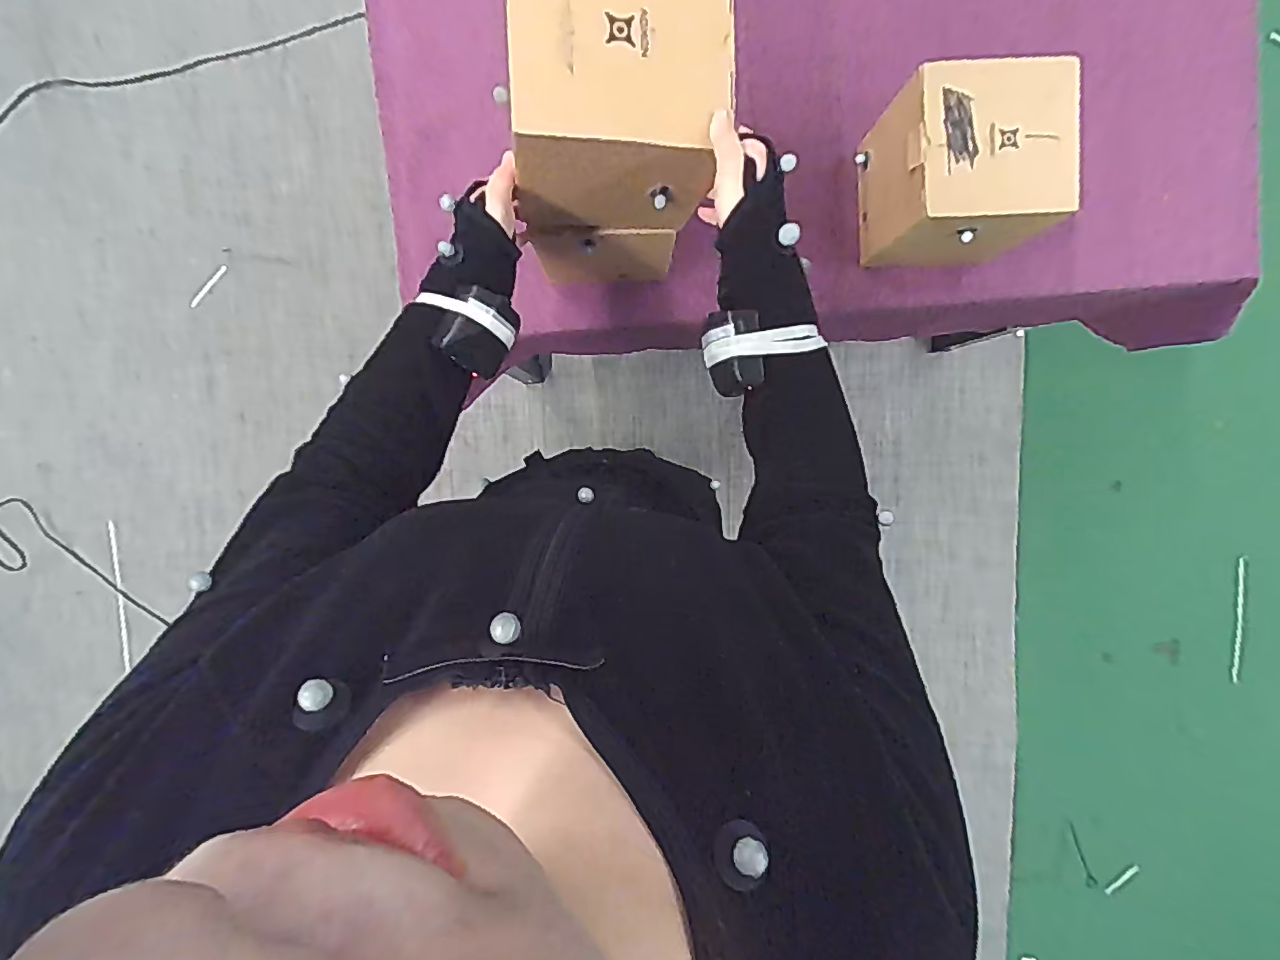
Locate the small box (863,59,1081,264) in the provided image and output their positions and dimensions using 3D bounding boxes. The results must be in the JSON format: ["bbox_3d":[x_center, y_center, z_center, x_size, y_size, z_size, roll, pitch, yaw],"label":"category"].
[{"bbox_3d":[0.392,-0.376,0.668,0.179,0.176,0.168,-3,95,-1],"label":"small box"}]

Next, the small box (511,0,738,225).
[{"bbox_3d":[-0.024,-0.346,0.487,0.179,0.176,0.168,-2,95,-11],"label":"small box"}]

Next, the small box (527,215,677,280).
[{"bbox_3d":[-0.044,-0.360,0.662,0.168,0.176,0.179,-2,94,-1],"label":"small box"}]
